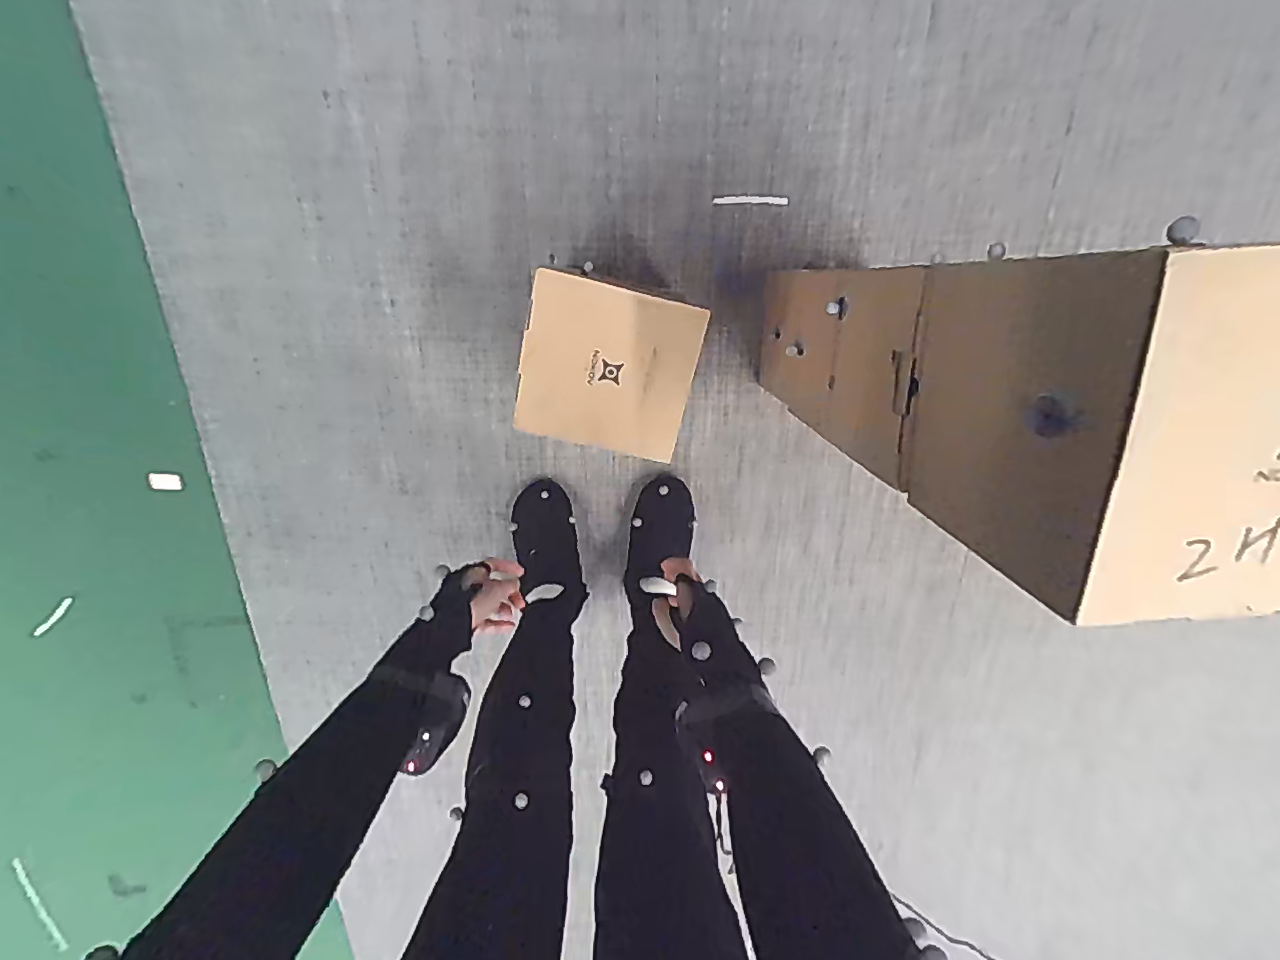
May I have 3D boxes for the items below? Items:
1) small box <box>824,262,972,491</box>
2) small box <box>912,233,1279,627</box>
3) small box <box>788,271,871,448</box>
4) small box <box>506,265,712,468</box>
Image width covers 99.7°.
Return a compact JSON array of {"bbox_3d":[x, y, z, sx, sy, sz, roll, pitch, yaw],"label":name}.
[{"bbox_3d":[0.275,-0.095,0.466,0.179,0.176,0.168,-2,109,-2],"label":"small box"},{"bbox_3d":[0.283,-0.040,0.312,0.168,0.176,0.179,-3,110,-1],"label":"small box"},{"bbox_3d":[0.278,-0.146,0.623,0.168,0.176,0.179,-3,111,-2],"label":"small box"},{"bbox_3d":[-0.035,-0.133,0.618,0.179,0.176,0.168,14,109,-6],"label":"small box"}]
